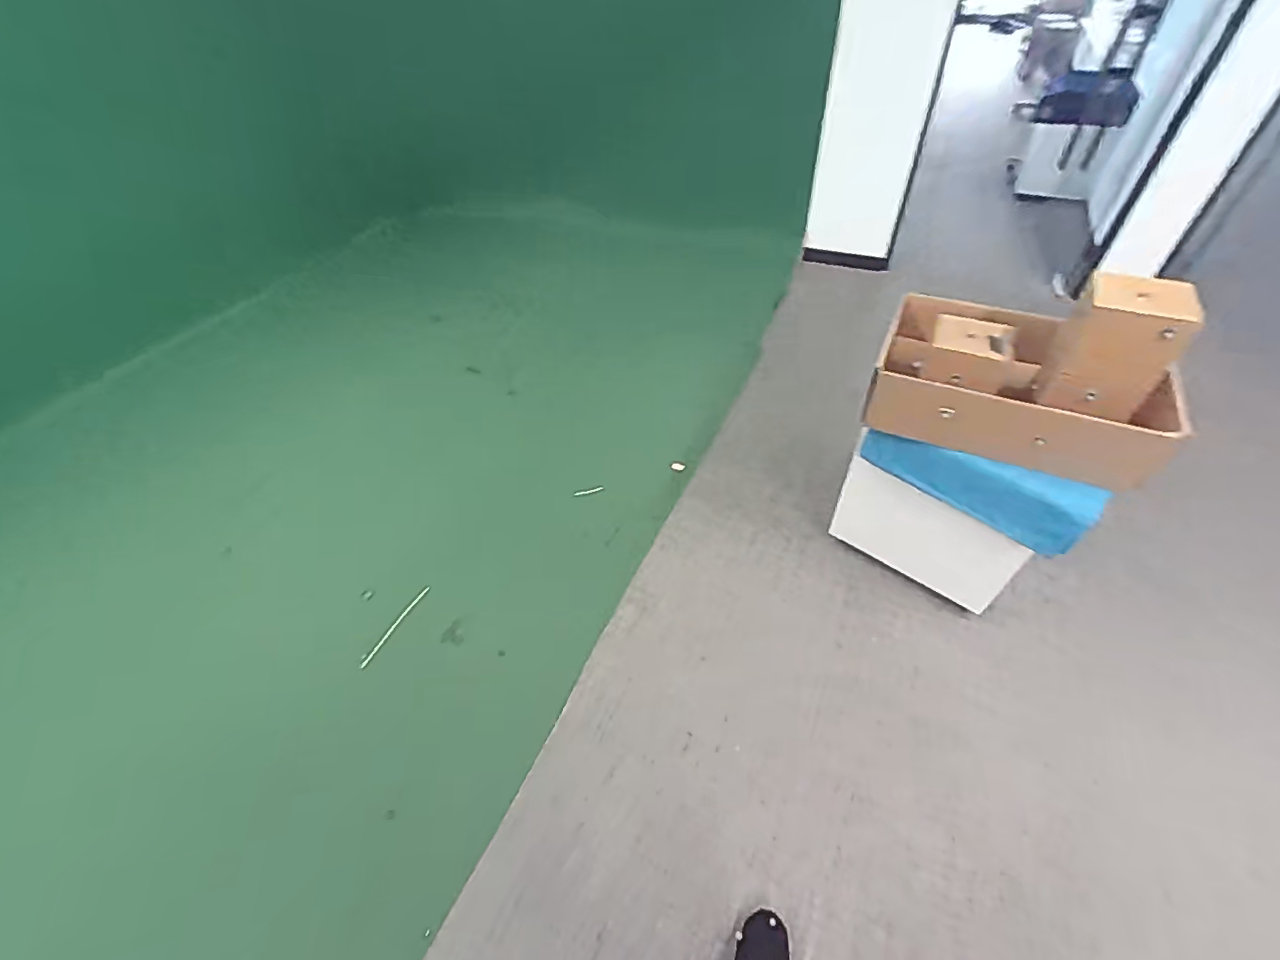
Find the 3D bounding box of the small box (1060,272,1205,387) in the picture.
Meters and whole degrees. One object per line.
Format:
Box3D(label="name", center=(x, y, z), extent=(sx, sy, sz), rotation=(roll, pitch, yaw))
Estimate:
Box3D(label="small box", center=(1.036, -0.320, 1.157), extent=(0.179, 0.176, 0.168), rotation=(18, 51, 21))
